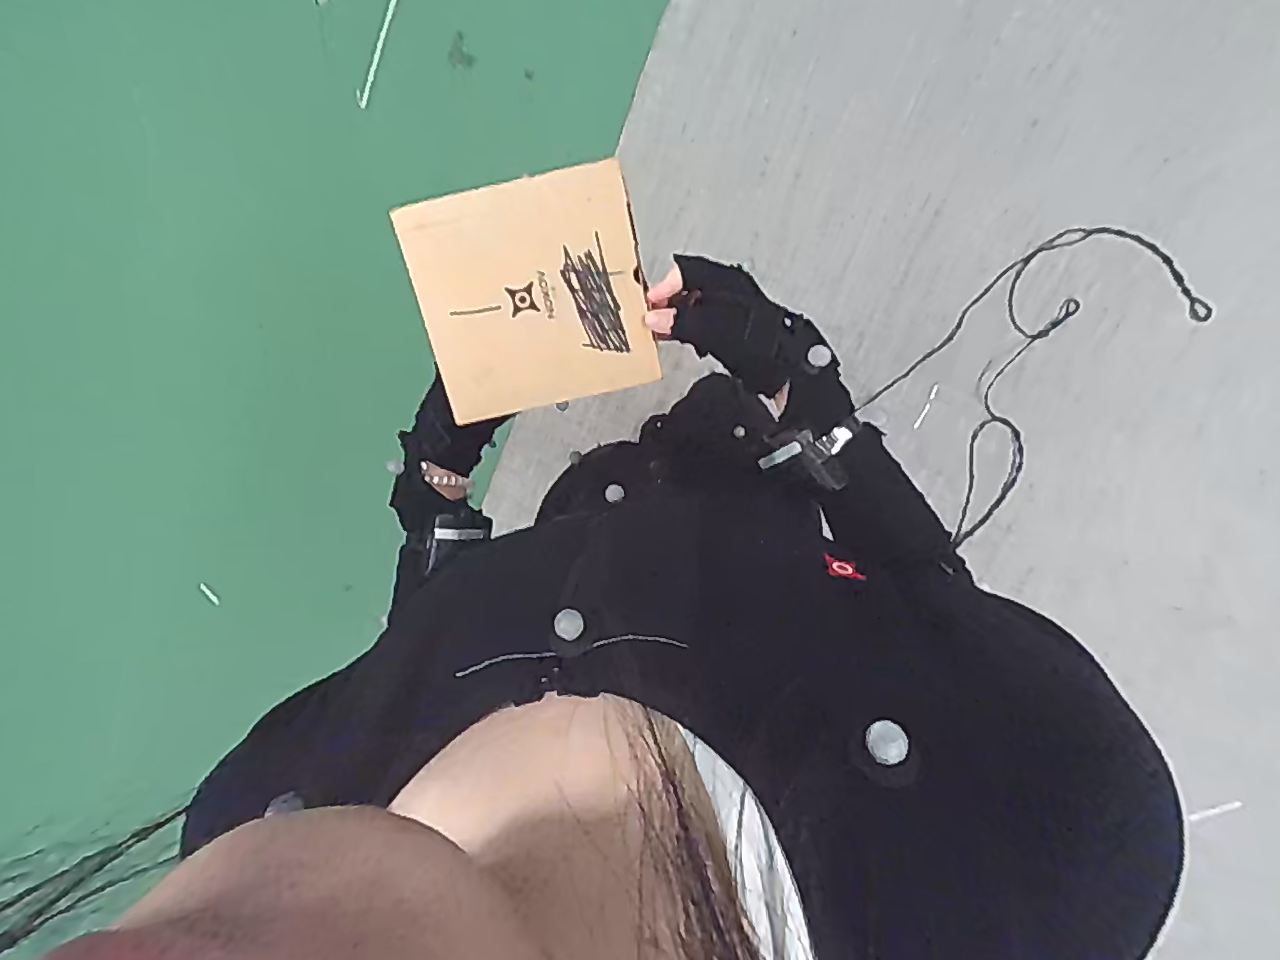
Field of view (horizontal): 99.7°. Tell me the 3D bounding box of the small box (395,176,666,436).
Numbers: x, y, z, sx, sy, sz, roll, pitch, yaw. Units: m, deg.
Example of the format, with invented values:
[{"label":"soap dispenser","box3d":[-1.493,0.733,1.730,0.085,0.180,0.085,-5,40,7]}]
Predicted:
[{"label":"small box","box3d":[-0.083,-0.151,0.490,0.179,0.176,0.168,-12,106,2]}]
